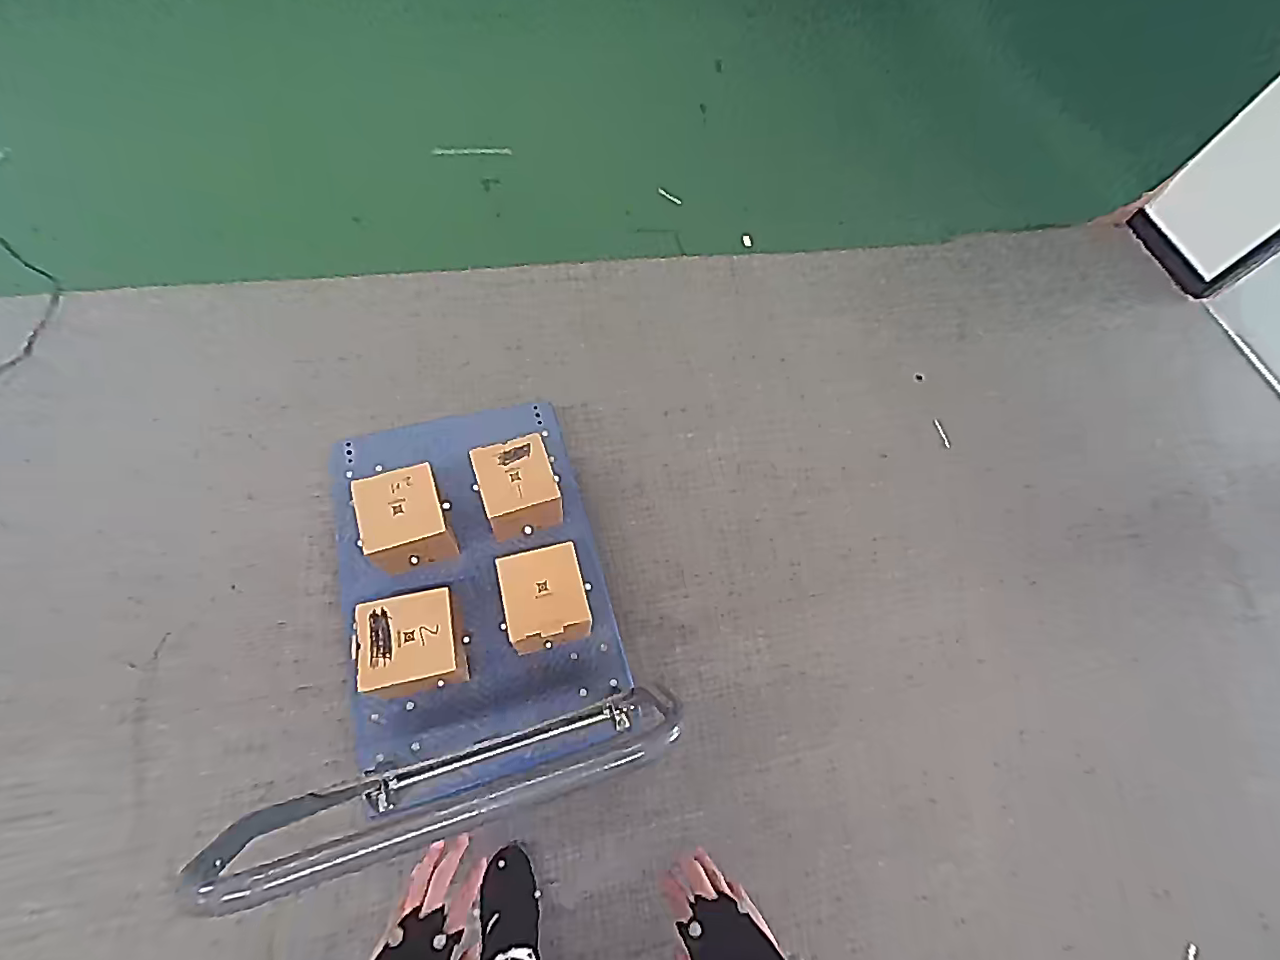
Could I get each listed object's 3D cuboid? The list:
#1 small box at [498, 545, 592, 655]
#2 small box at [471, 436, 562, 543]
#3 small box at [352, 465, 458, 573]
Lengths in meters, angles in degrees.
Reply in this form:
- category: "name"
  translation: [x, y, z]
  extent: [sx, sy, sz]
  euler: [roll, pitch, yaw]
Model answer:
- category: "small box"
  translation: [-0.207, 0.262, 1.171]
  extent: [0.168, 0.176, 0.179]
  euler: [-12, 67, -13]
- category: "small box"
  translation: [-0.287, 0.025, 1.273]
  extent: [0.168, 0.176, 0.179]
  euler: [-16, 69, -14]
- category: "small box"
  translation: [-0.519, 0.096, 1.210]
  extent: [0.168, 0.176, 0.179]
  euler: [-16, 67, -15]
